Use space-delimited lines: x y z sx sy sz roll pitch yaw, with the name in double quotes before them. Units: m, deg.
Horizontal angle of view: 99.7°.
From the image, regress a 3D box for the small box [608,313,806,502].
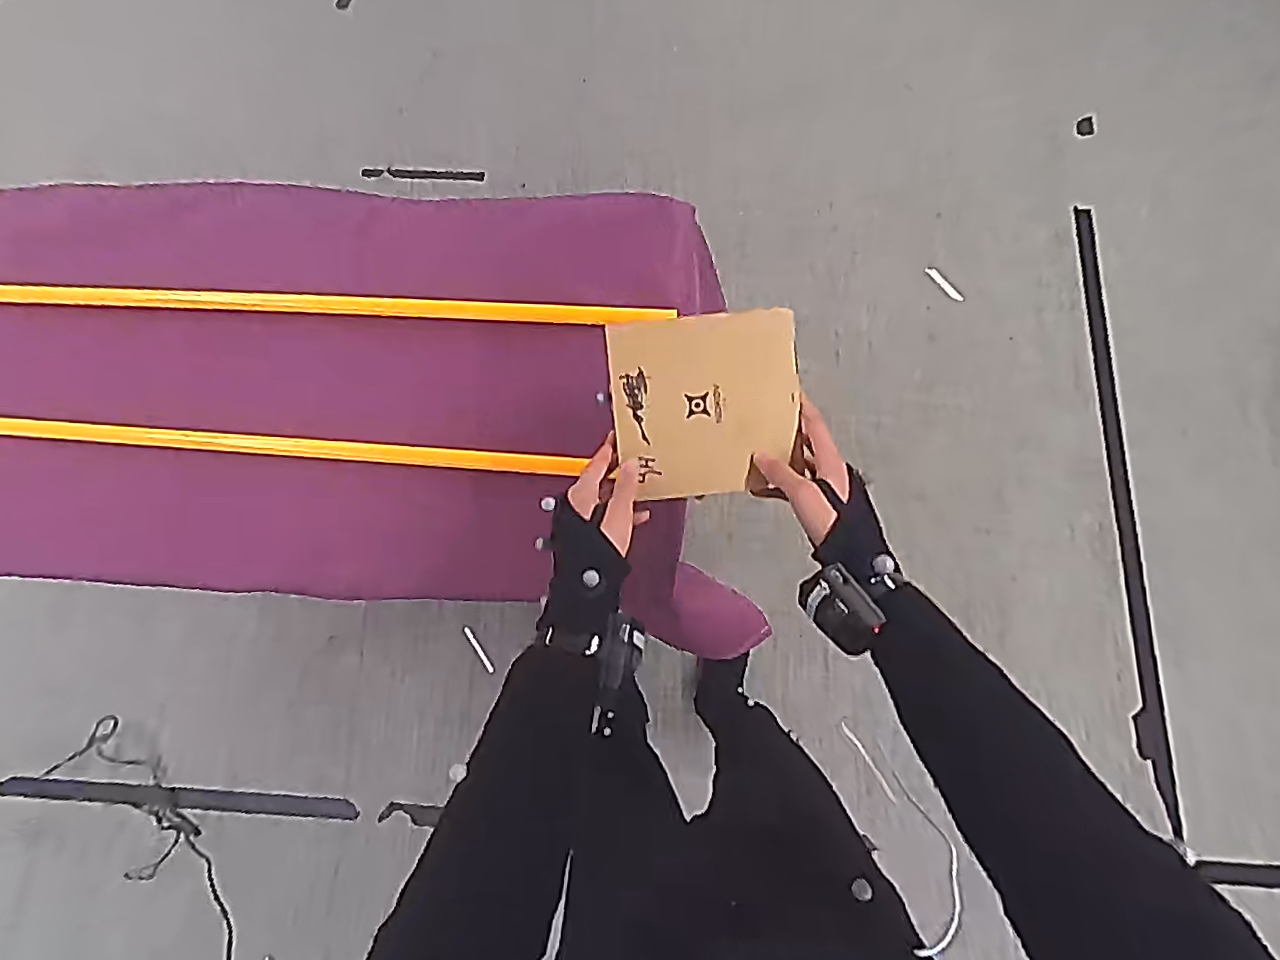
"small box" 0.060 -0.072 0.574 0.179 0.176 0.168 -5 94 -1
